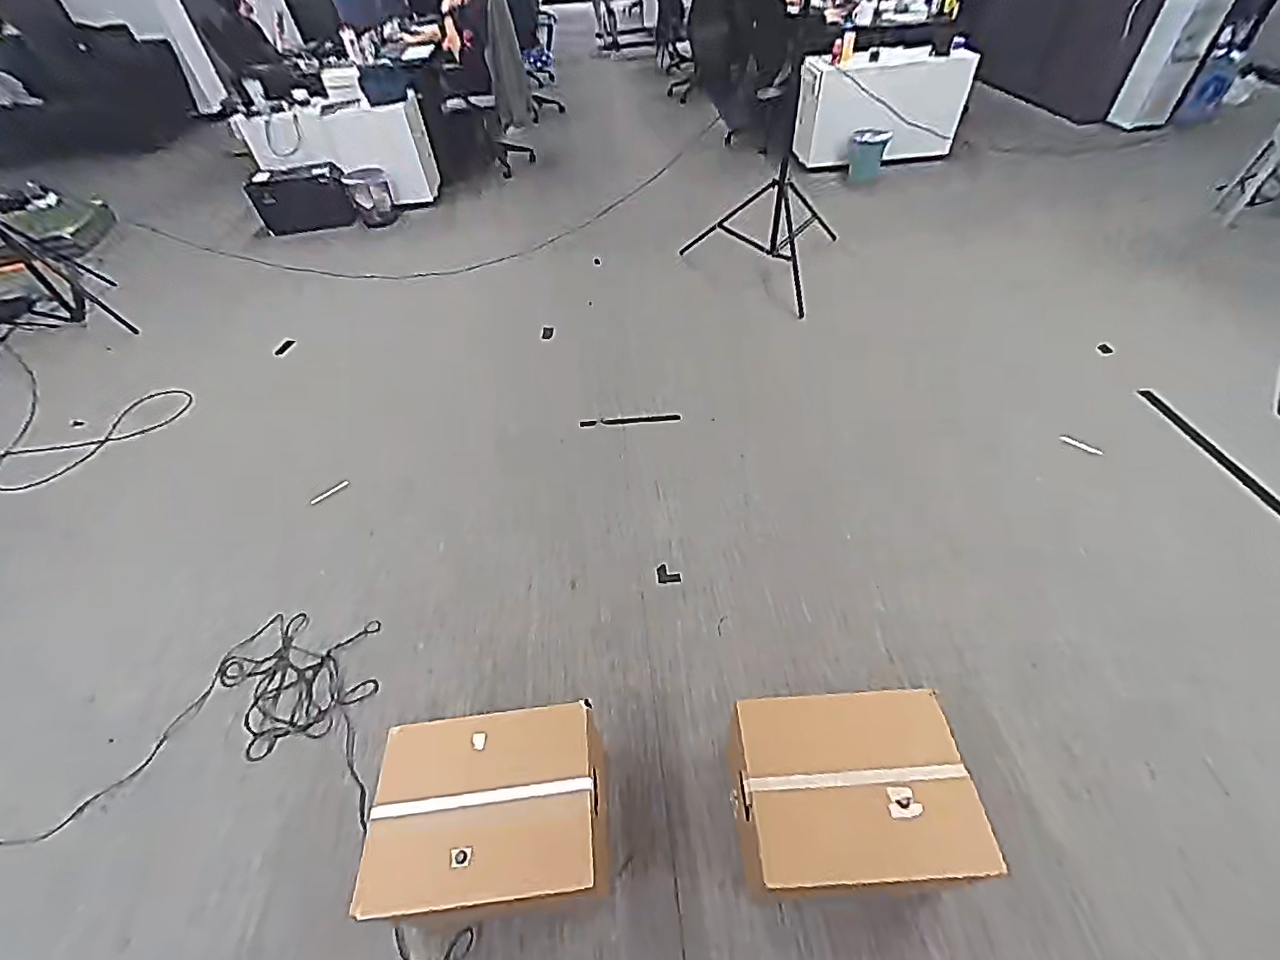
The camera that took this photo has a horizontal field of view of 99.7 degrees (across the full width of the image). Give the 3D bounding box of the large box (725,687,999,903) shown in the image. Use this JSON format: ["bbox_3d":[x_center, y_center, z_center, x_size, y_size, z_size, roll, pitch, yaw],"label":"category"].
[{"bbox_3d":[0.408,0.653,1.118,0.408,0.320,0.320,-3,48,0],"label":"large box"}]
